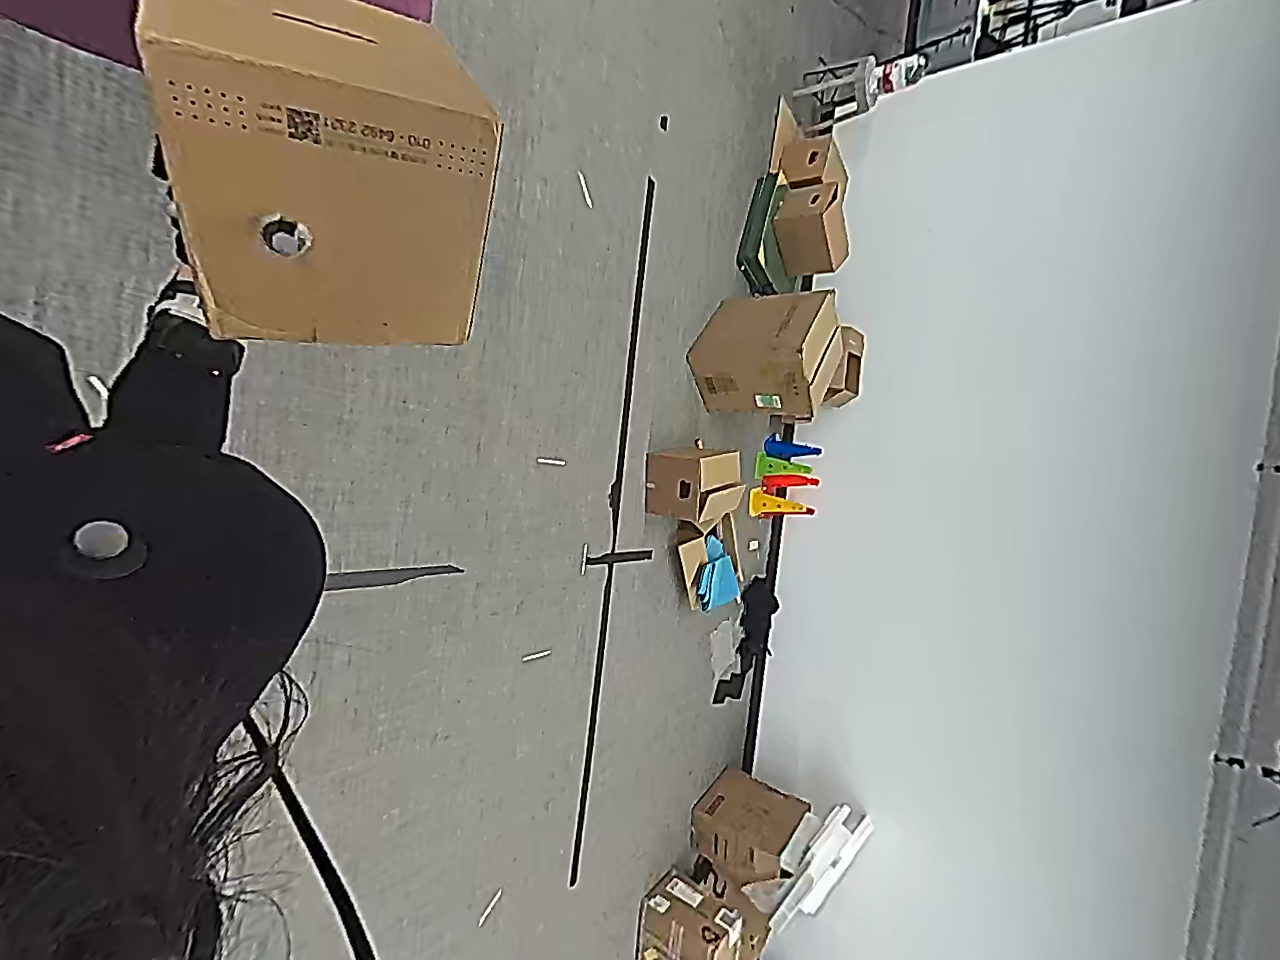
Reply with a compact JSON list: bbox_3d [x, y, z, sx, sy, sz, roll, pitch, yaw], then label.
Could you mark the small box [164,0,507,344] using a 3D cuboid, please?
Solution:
[{"bbox_3d":[-0.202,-0.216,0.370,0.168,0.179,0.176,-6,143,-34],"label":"small box"}]
